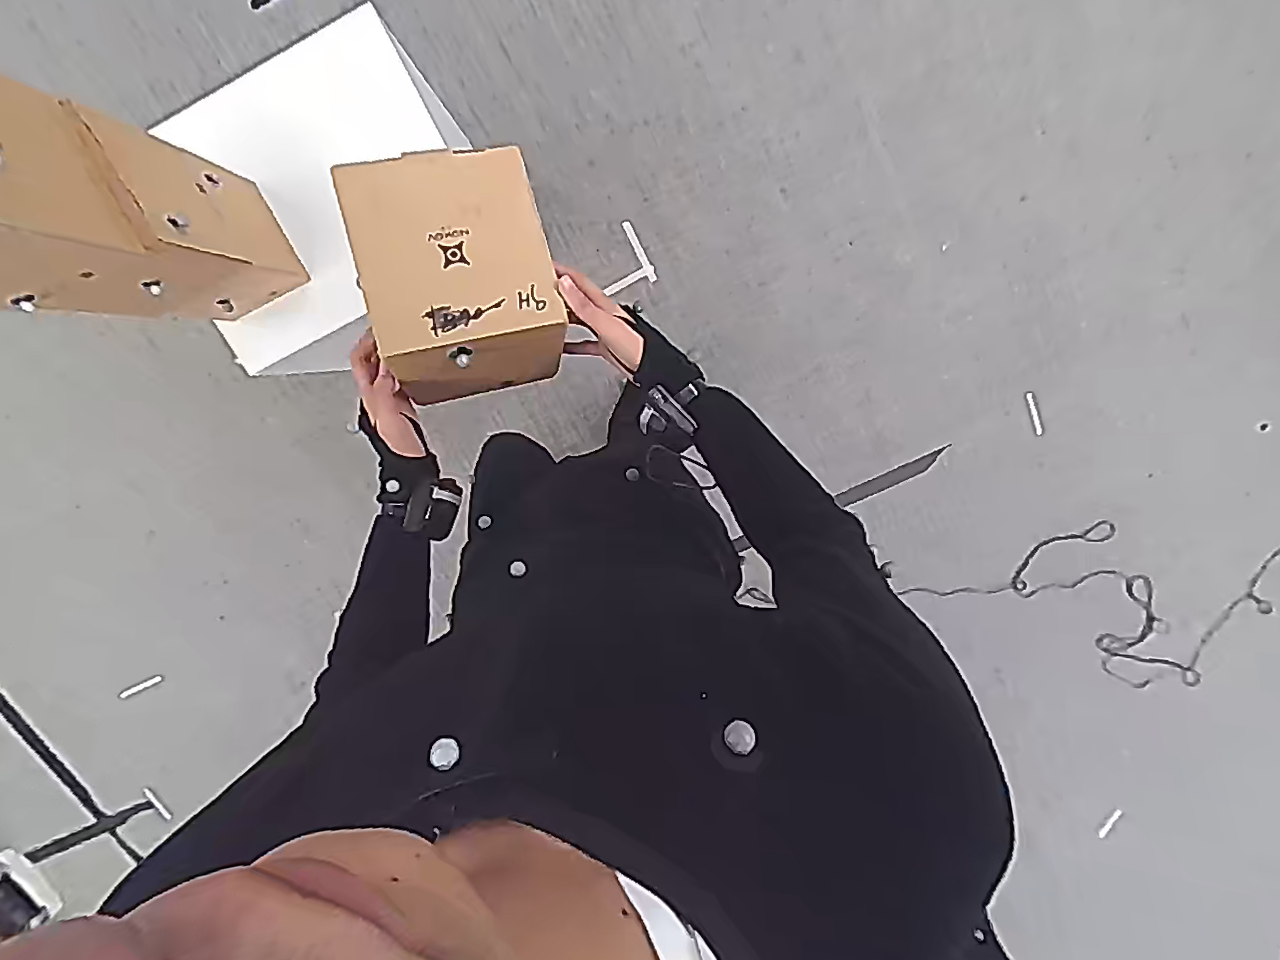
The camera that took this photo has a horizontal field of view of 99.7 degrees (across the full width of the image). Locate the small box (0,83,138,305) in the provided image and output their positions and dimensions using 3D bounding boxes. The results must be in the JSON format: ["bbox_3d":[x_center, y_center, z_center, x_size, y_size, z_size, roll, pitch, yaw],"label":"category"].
[{"bbox_3d":[-0.663,-0.282,0.523,0.168,0.176,0.179,-22,102,3],"label":"small box"}]

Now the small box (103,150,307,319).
[{"bbox_3d":[-0.670,-0.365,0.842,0.168,0.176,0.179,-25,102,3],"label":"small box"}]

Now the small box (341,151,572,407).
[{"bbox_3d":[-0.177,-0.193,0.553,0.168,0.176,0.179,-15,86,-14],"label":"small box"}]
